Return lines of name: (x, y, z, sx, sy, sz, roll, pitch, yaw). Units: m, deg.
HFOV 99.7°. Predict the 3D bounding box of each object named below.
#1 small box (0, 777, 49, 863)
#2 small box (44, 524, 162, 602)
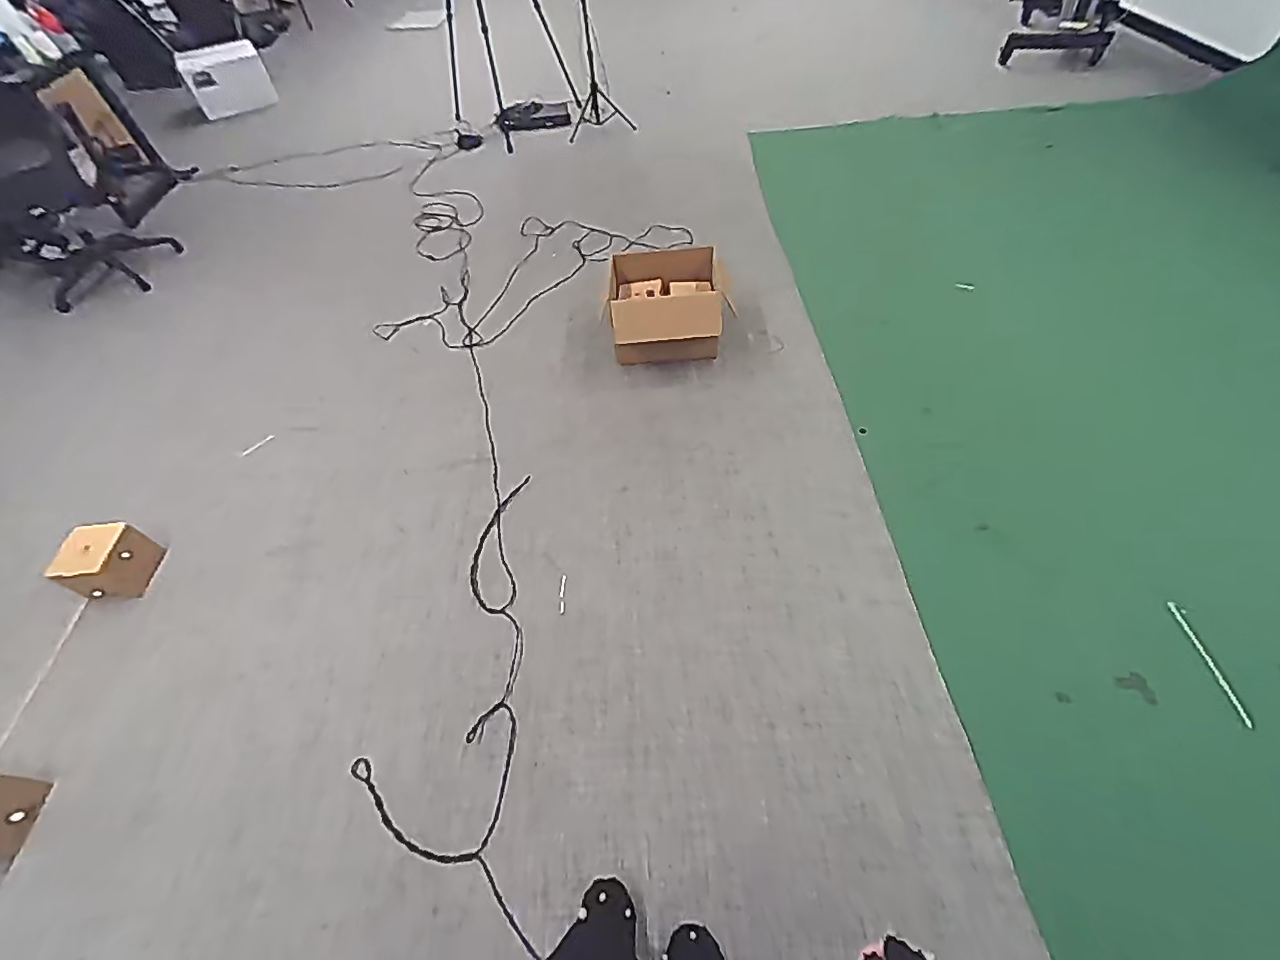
small box: (-1.588, 0.806, 1.270, 0.179, 0.176, 0.168, -6, 54, 1)
small box: (-1.650, 0.259, 1.679, 0.168, 0.176, 0.179, -5, 54, 1)
